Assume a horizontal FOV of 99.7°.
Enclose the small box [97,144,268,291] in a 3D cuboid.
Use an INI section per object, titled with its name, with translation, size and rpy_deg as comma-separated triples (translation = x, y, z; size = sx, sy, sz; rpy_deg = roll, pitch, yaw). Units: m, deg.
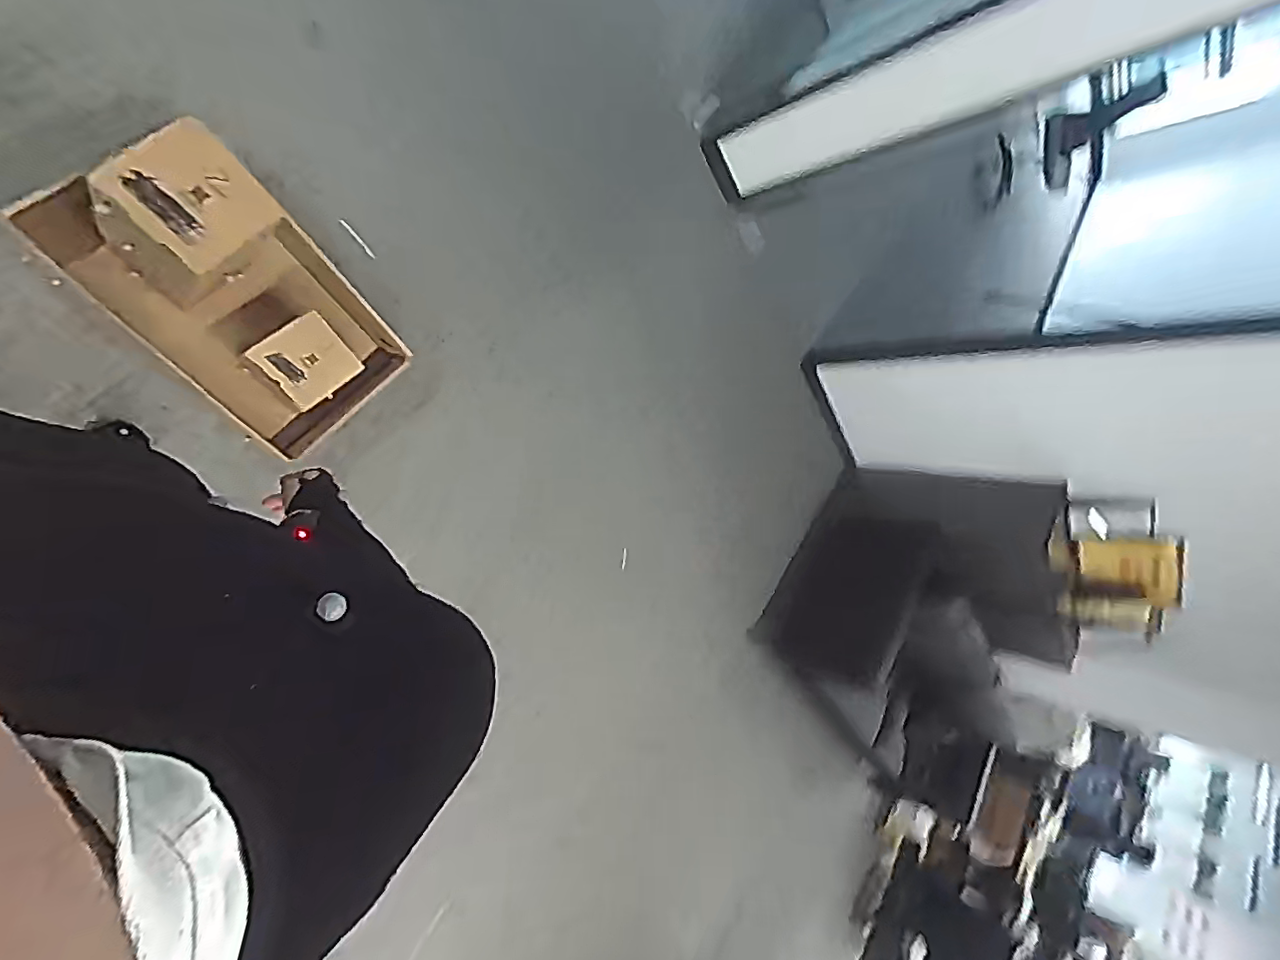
[small box]
translation = -0.845, -0.477, 1.004
size = 0.179, 0.176, 0.168
rpy_deg = -54, 128, -22
